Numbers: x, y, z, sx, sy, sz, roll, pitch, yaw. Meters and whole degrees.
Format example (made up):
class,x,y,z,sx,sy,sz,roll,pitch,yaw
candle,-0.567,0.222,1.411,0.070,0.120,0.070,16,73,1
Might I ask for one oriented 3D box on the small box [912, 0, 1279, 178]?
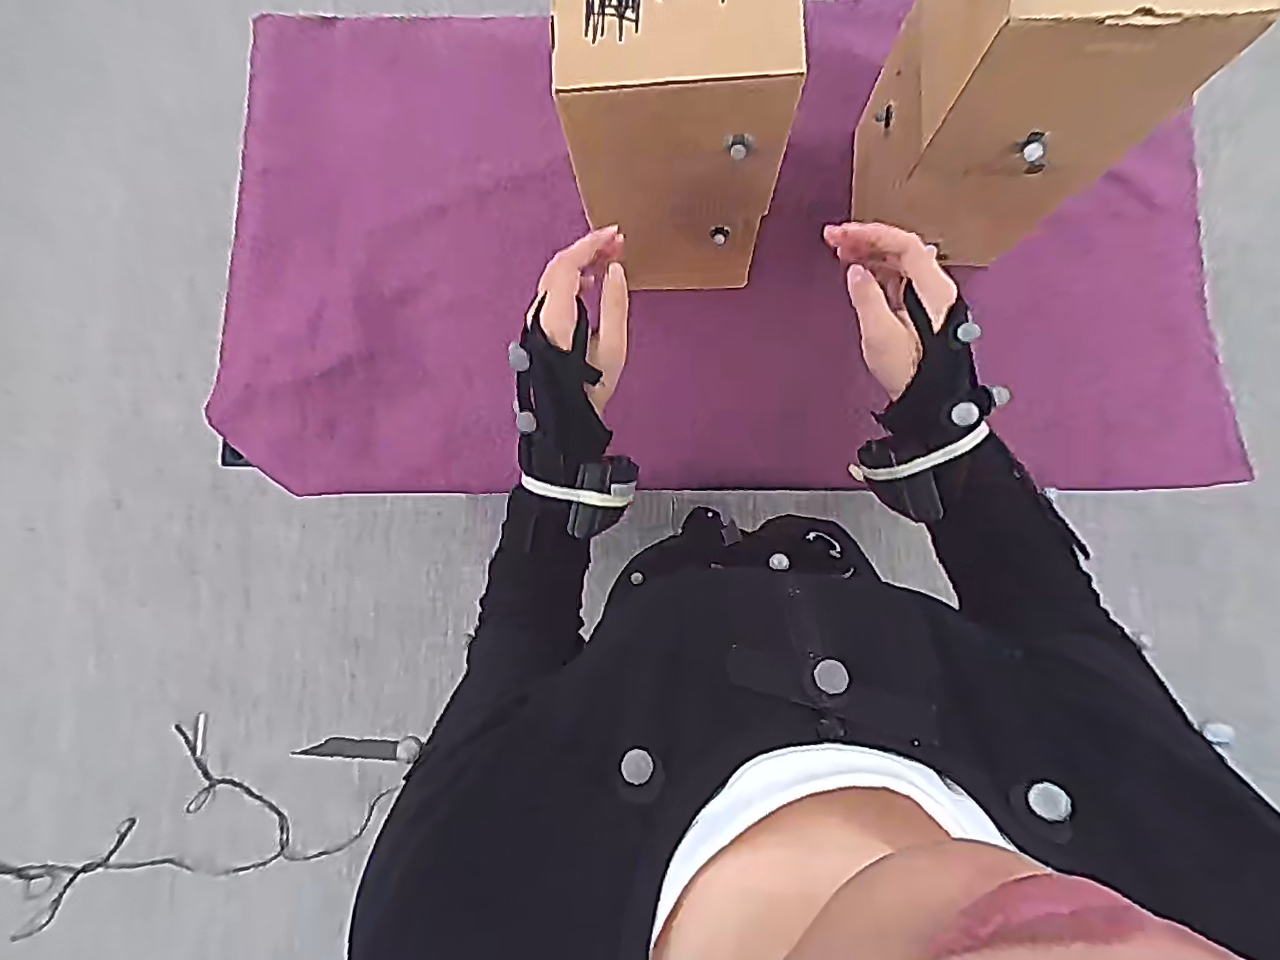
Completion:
class,x,y,z,sx,sy,sz,roll,pitch,yaw
small box,0.332,-0.374,0.425,0.168,0.176,0.179,3,86,6

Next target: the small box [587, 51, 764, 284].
class,x,y,z,sx,sy,sz,roll,pitch,yaw
small box,0.041,-0.336,0.615,0.179,0.176,0.168,0,85,4

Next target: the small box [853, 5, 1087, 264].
class,x,y,z,sx,sy,sz,roll,pitch,yaw
small box,0.343,-0.361,0.590,0.168,0.176,0.179,4,86,5
